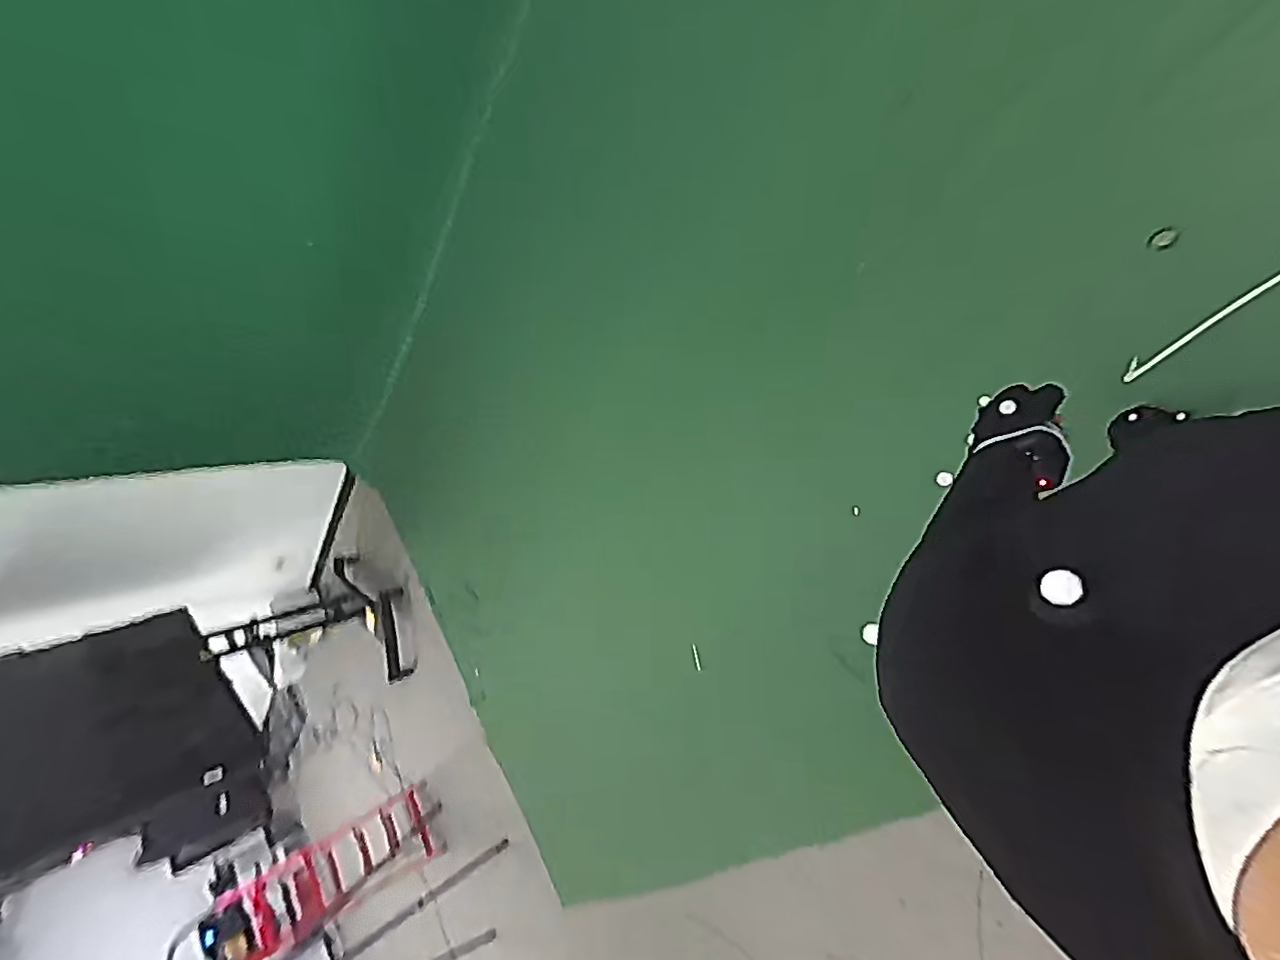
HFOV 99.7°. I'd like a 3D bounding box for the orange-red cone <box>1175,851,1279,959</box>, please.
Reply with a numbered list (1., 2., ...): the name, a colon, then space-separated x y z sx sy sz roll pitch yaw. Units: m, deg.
1. orange-red cone: 1.114 0.863 0.939 0.198 0.360 0.199 -49 65 37
